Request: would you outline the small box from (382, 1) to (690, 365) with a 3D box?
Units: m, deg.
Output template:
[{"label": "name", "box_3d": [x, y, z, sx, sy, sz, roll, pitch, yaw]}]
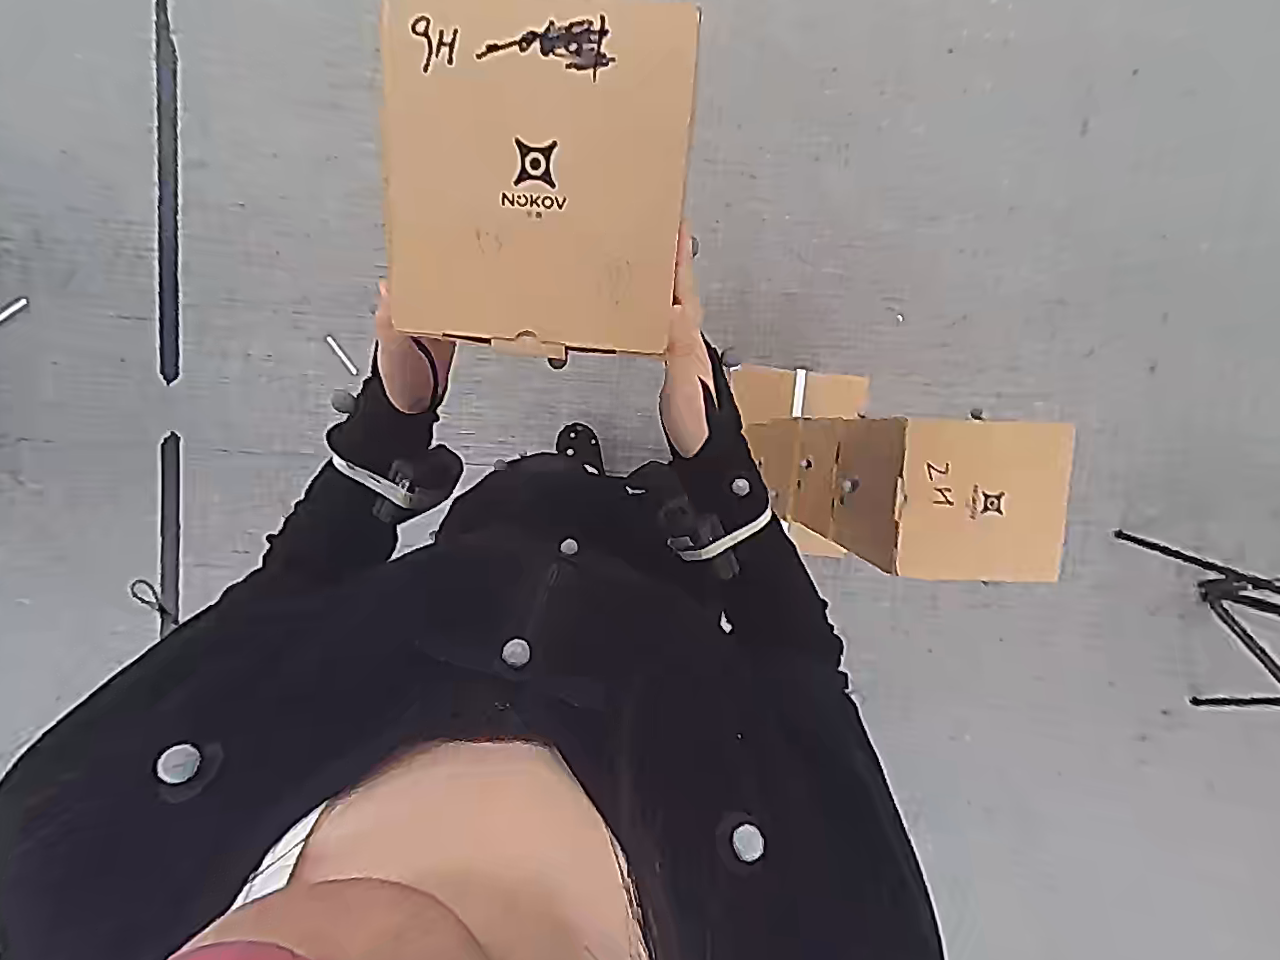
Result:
[{"label": "small box", "box_3d": [-0.055, -0.180, 0.377, 0.168, 0.176, 0.179, 5, 105, 3]}]

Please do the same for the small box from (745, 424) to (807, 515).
[{"label": "small box", "box_3d": [0.319, -0.024, 1.123, 0.168, 0.176, 0.179, 3, 96, -1]}]

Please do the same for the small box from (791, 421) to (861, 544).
[{"label": "small box", "box_3d": [0.340, 0.001, 0.798, 0.179, 0.176, 0.168, 3, 96, -1]}]

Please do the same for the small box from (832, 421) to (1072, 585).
[{"label": "small box", "box_3d": [0.348, 0.017, 0.634, 0.179, 0.176, 0.168, 2, 95, -1]}]
